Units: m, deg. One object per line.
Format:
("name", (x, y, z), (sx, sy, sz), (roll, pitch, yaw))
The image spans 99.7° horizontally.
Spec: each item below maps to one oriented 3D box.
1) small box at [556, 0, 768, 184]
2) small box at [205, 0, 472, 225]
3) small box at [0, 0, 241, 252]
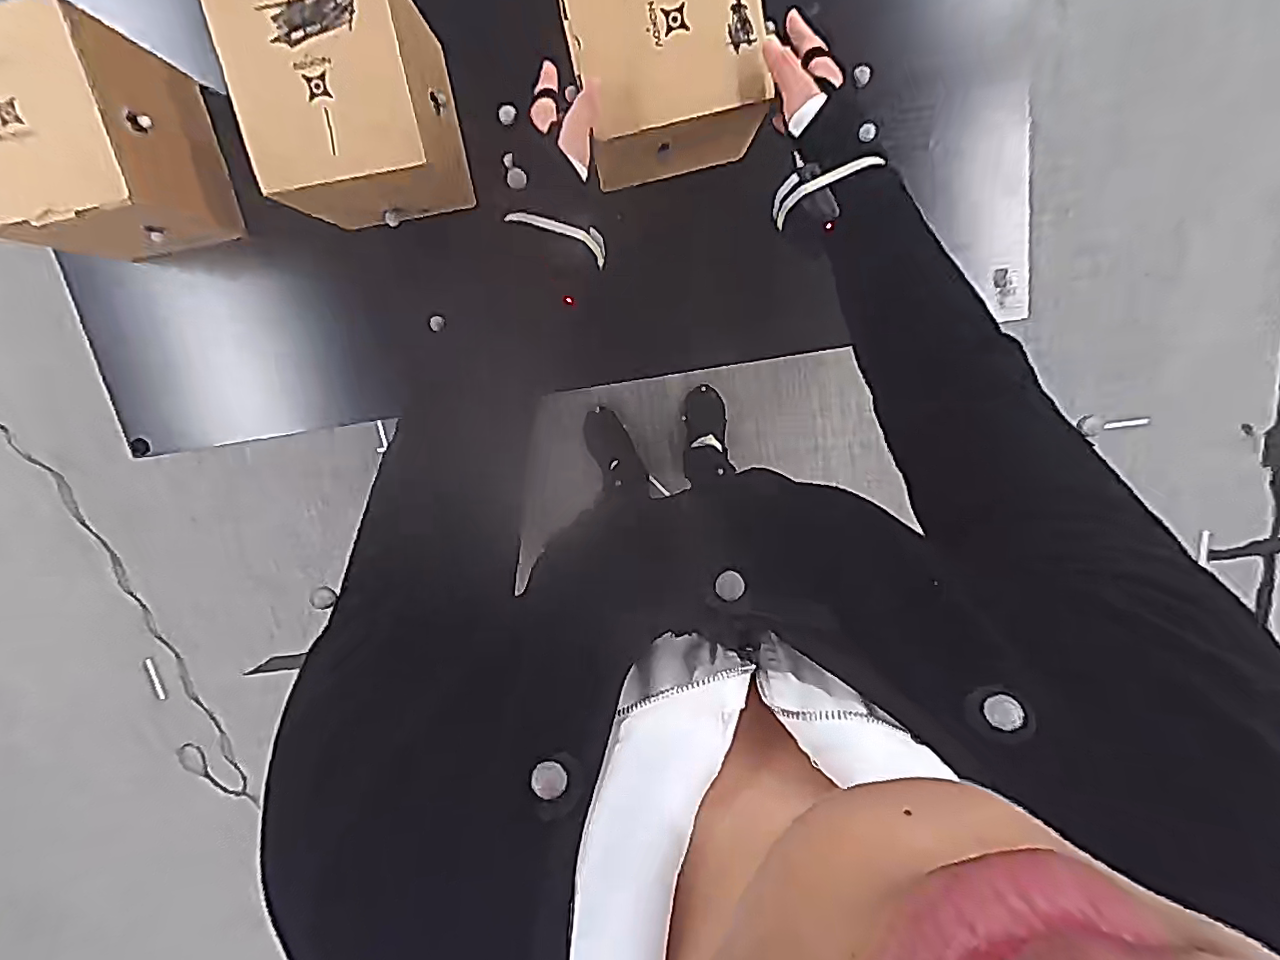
("small box", (0.019, -0.434, 0.565), (0.179, 0.176, 0.168), (-13, 104, 3))
("small box", (-0.296, -0.391, 0.572), (0.168, 0.176, 0.179), (-10, 105, 2))
("small box", (-0.581, -0.355, 0.579), (0.168, 0.176, 0.179), (-11, 103, 1))
